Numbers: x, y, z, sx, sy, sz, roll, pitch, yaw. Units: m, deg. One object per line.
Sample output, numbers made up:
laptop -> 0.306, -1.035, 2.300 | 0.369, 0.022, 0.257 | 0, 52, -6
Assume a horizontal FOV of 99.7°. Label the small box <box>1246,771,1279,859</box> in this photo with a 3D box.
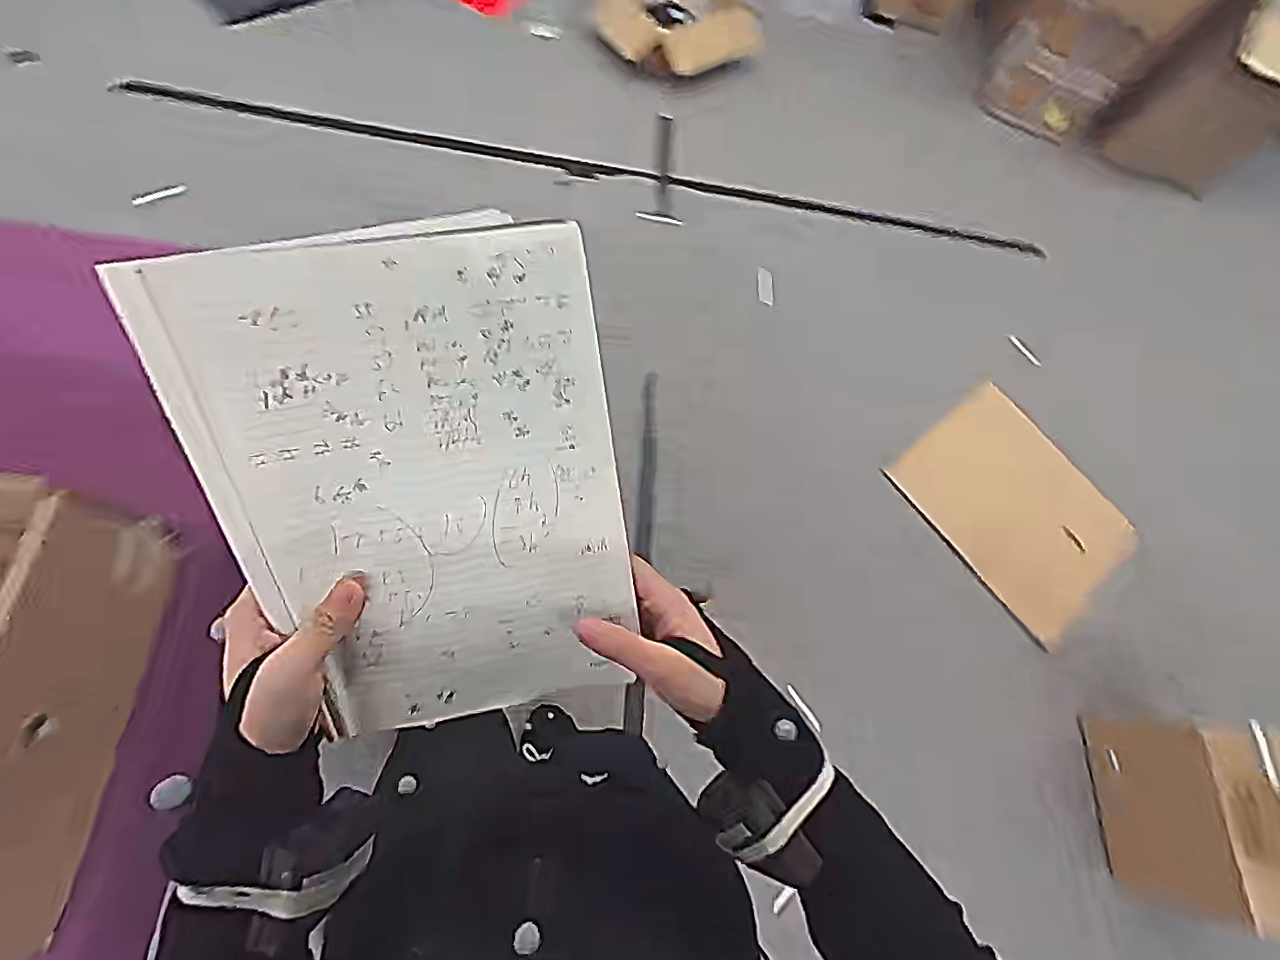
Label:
small box -> 1.417, 0.706, 1.109 | 0.179, 0.176, 0.168 | 10, 68, -7
